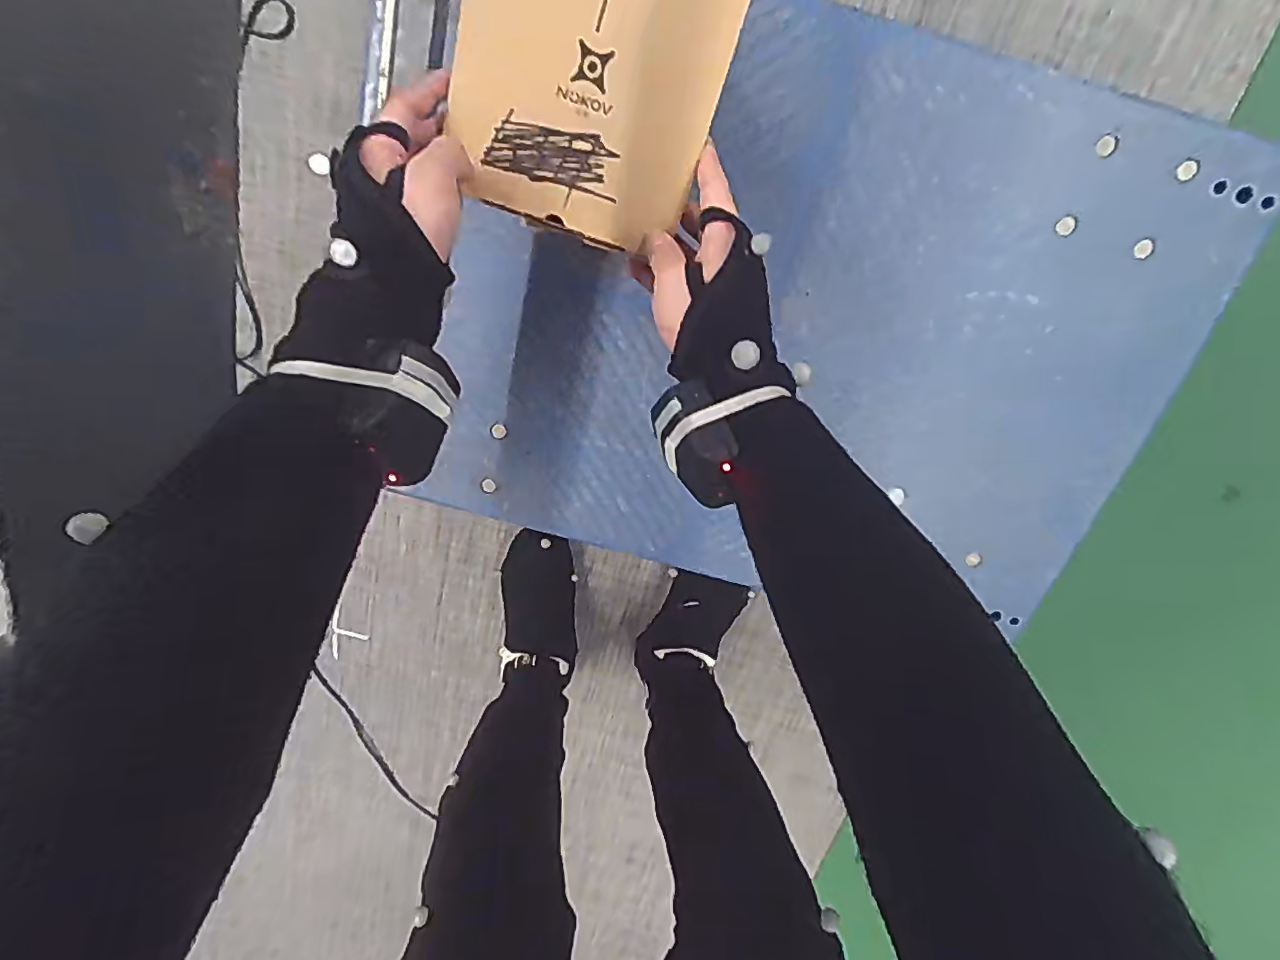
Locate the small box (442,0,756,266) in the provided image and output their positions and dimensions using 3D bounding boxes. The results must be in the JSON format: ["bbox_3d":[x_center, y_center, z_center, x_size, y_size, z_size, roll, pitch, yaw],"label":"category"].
[{"bbox_3d":[-0.029,-0.281,0.412,0.168,0.176,0.179,17,112,-6],"label":"small box"}]
